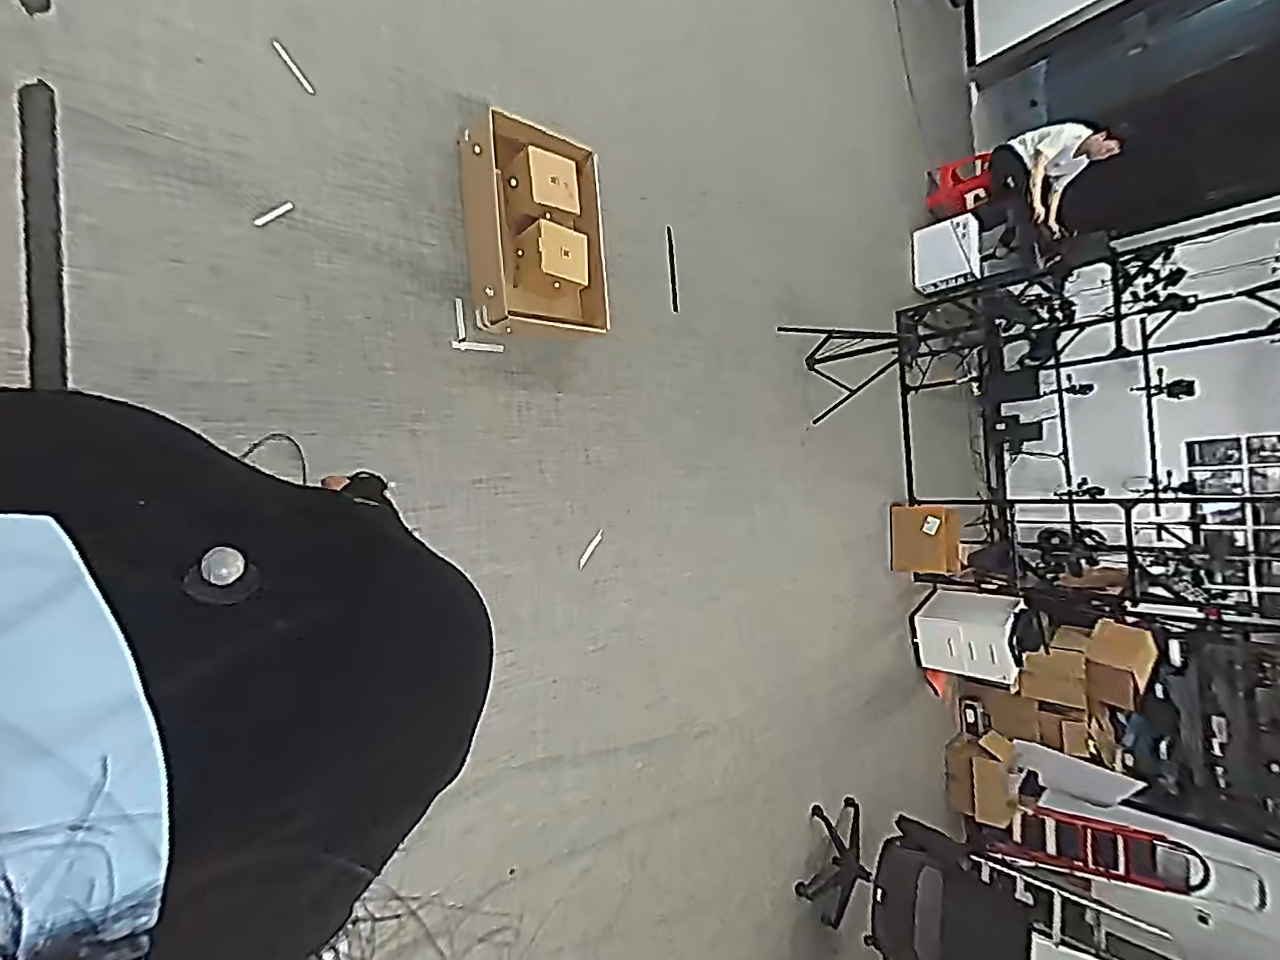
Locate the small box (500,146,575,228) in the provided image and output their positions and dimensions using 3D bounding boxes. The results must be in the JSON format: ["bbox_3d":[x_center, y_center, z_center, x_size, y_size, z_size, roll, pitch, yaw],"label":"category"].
[{"bbox_3d":[-0.329,-0.913,1.712,0.179,0.176,0.168,-8,95,-44],"label":"small box"}]

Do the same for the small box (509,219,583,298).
[{"bbox_3d":[-0.300,-0.698,1.731,0.179,0.176,0.168,2,86,-43],"label":"small box"}]
